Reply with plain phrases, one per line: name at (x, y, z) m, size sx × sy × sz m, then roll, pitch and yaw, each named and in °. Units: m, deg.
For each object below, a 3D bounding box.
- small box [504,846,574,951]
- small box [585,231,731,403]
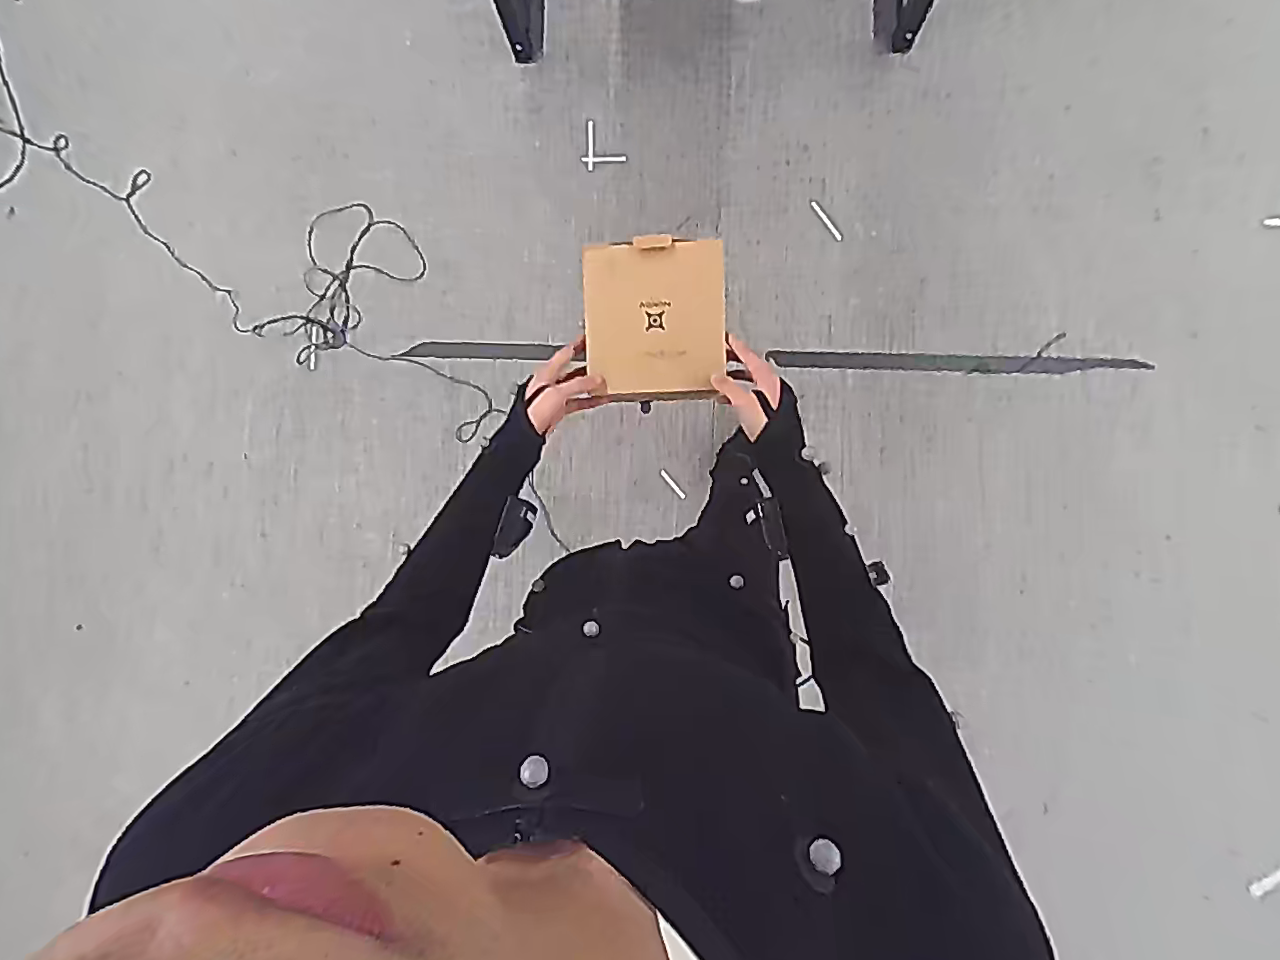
small box at (-0.284, 1.178, 1.535) m, size 0.168 × 0.176 × 0.179 m, roll -1°, pitch 90°, yaw 5°
small box at (0.021, -0.196, 0.695) m, size 0.168 × 0.176 × 0.179 m, roll -2°, pitch 94°, yaw 2°
